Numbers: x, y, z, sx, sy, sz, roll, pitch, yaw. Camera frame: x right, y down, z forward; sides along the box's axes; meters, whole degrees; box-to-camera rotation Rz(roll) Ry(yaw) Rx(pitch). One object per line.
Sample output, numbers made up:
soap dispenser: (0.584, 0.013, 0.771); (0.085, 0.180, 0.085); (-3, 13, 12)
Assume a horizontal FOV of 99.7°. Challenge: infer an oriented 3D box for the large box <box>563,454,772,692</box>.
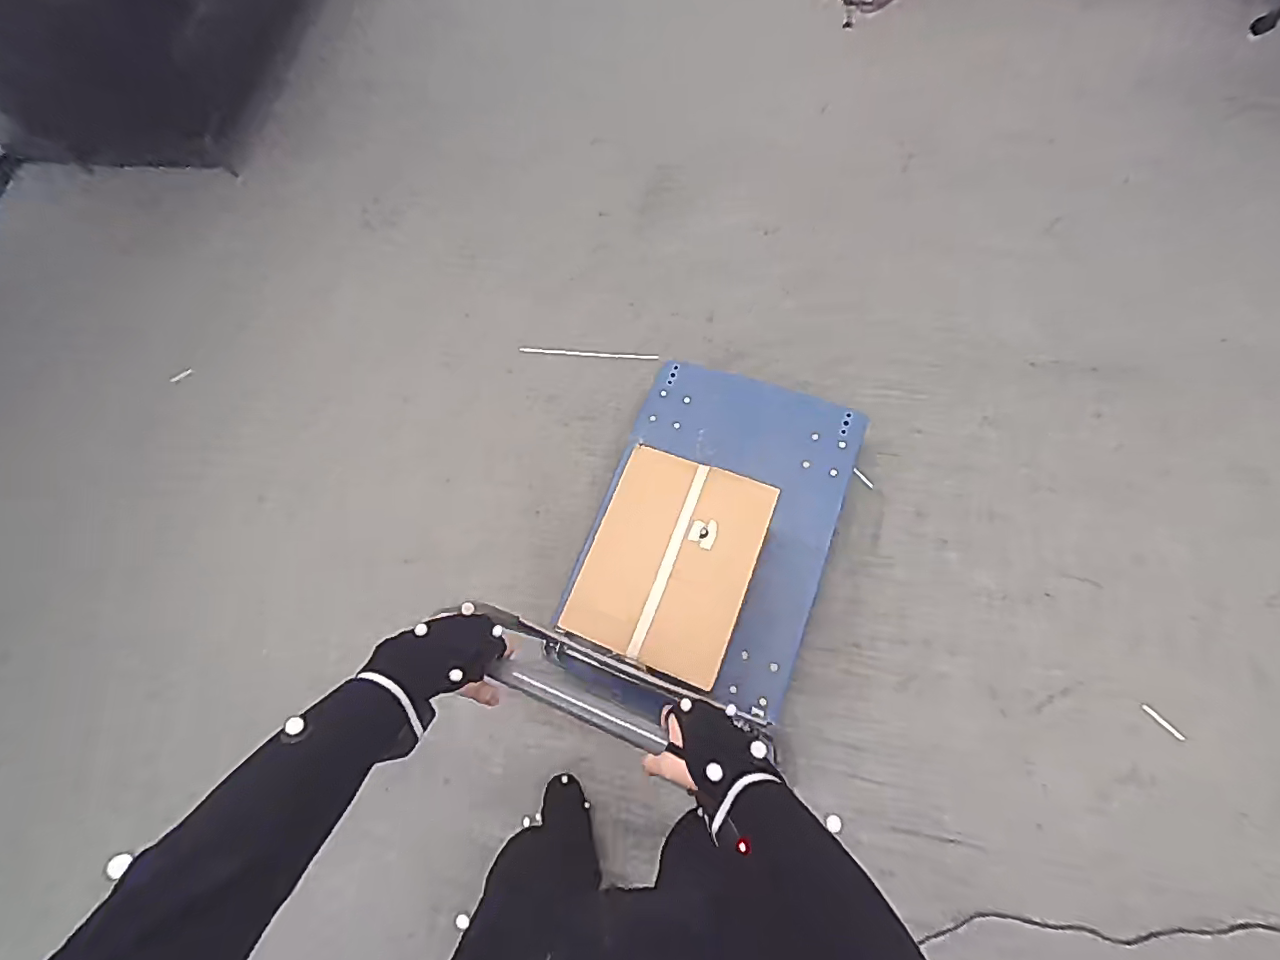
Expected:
large box: (0.079, 0.217, 1.203); (0.320, 0.320, 0.408); (19, 73, 15)
